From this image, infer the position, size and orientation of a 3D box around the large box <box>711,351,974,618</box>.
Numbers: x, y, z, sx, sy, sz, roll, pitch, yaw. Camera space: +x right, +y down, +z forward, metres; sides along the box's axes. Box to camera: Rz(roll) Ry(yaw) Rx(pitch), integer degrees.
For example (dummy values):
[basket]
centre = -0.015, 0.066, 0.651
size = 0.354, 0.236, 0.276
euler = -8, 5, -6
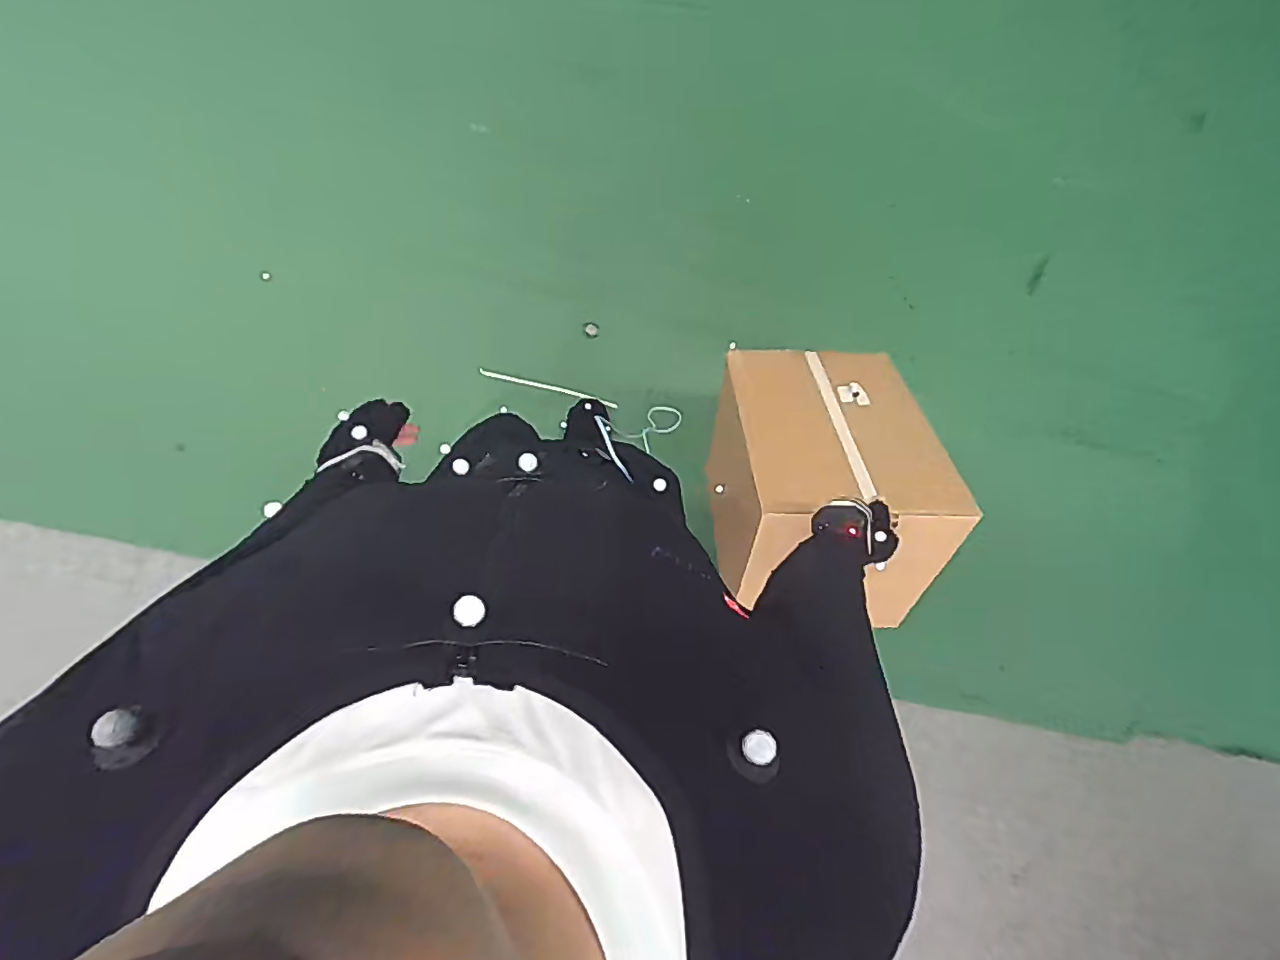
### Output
[large box]
centre = 0.319, 0.006, 1.007
size = 0.320, 0.408, 0.320
euler = 2, 136, -3
